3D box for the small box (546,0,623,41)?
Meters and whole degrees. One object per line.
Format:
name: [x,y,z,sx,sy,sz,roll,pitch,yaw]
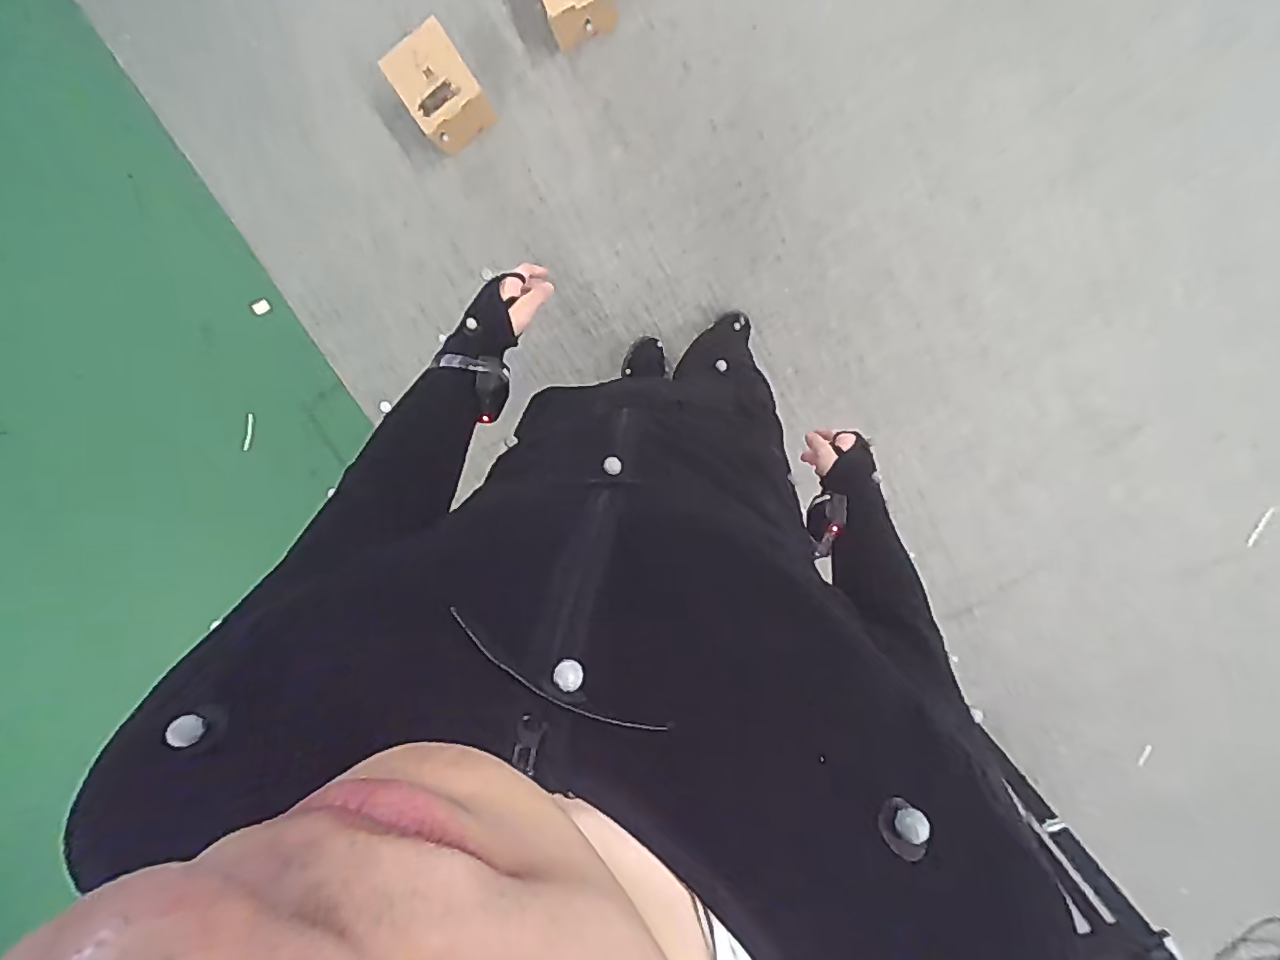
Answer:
small box: [-0.143,-1.143,1.222,0.168,0.176,0.179,-21,106,6]
